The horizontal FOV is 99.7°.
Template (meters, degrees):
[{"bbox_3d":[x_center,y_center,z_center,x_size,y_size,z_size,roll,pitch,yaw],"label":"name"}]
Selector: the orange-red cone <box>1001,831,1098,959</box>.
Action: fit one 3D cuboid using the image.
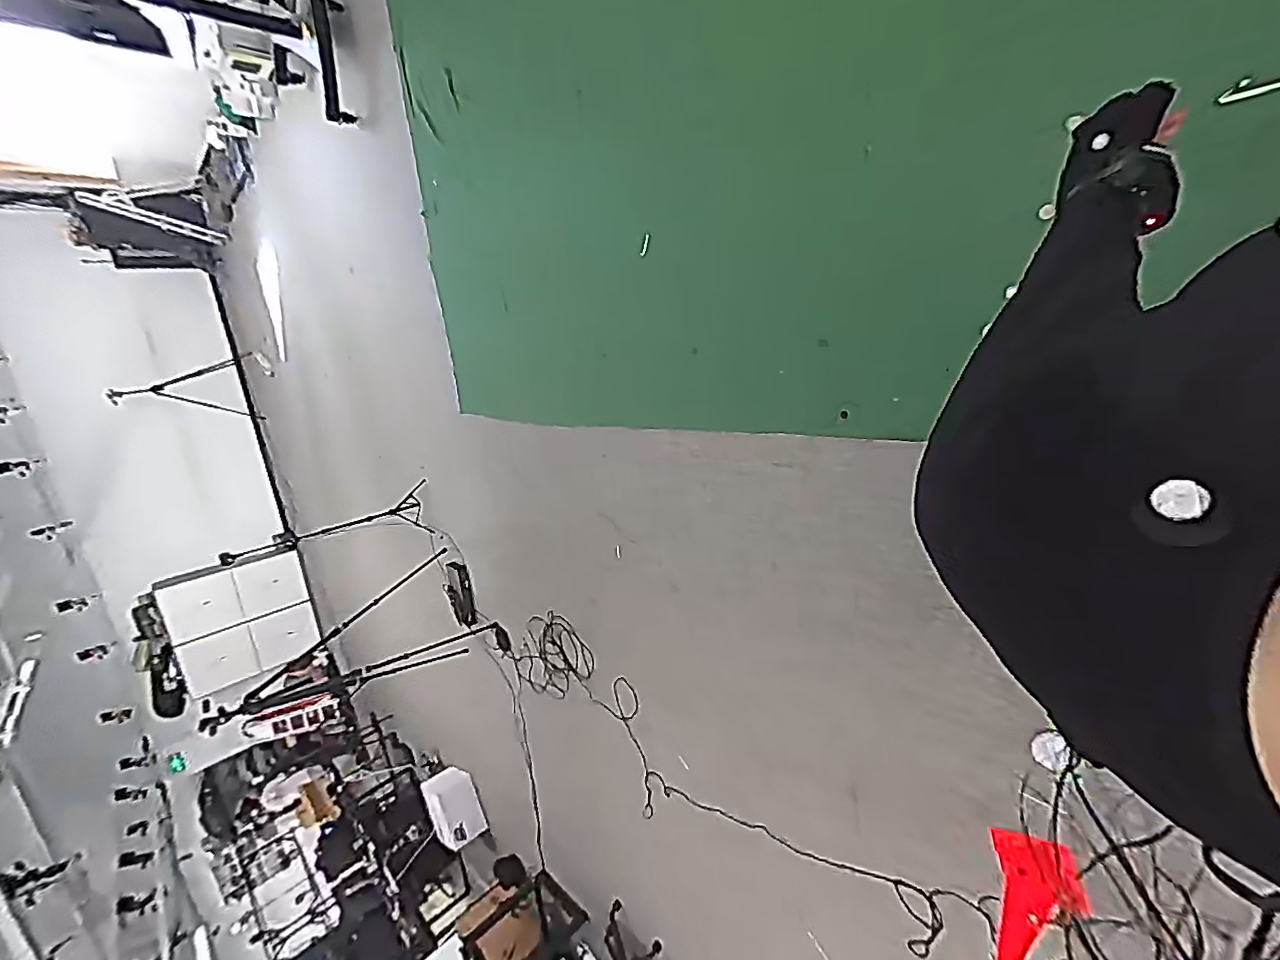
[{"bbox_3d":[1.024,1.140,1.407,0.198,0.360,0.199,-17,91,48],"label":"orange-red cone"}]
